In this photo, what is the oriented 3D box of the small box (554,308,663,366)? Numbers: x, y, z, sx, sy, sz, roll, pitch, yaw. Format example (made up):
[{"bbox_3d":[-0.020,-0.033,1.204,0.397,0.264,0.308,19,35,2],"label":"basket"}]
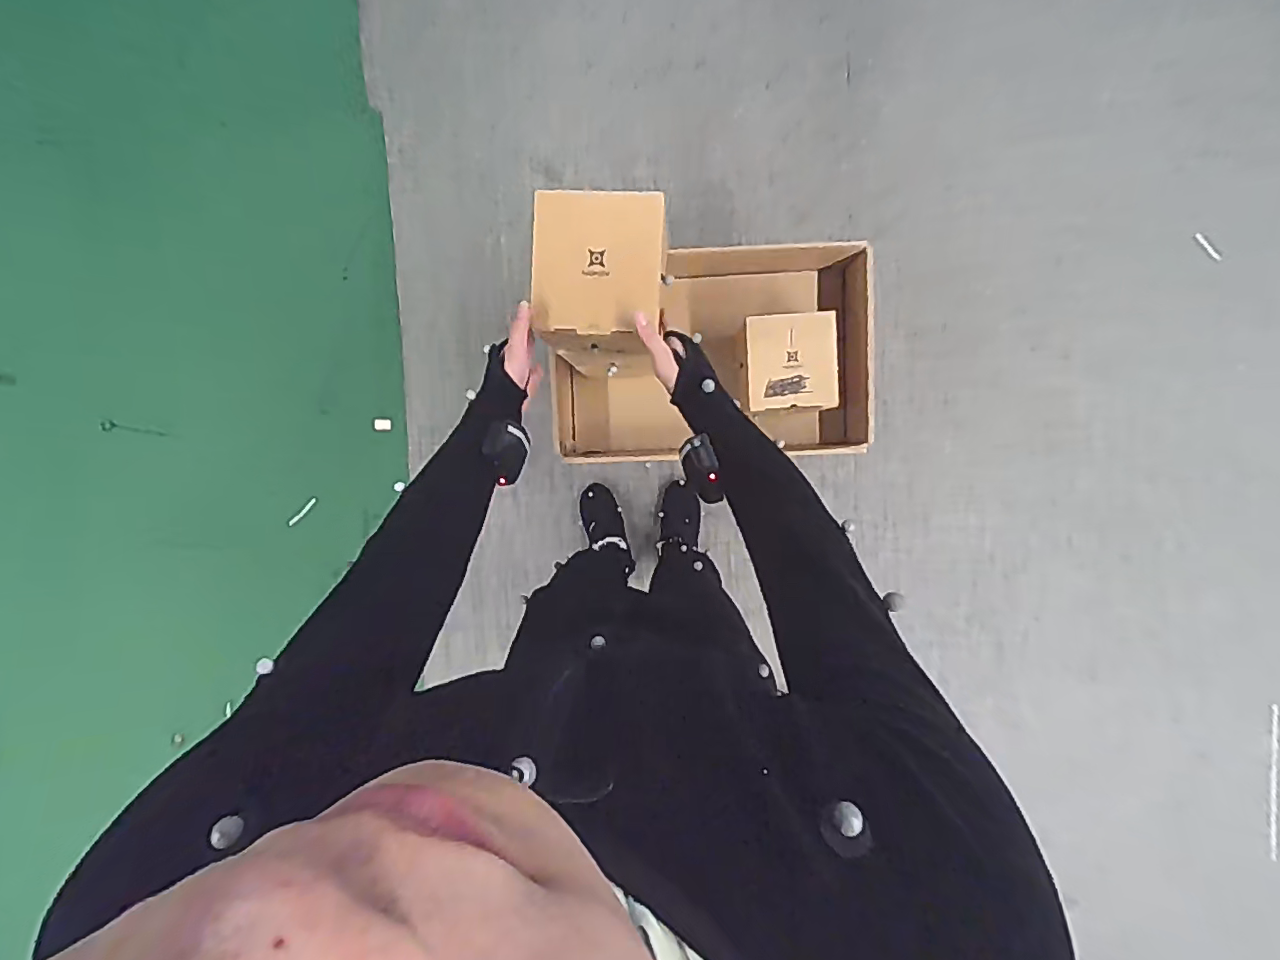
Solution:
[{"bbox_3d":[-0.047,-0.297,0.921,0.168,0.176,0.179,2,95,3],"label":"small box"}]

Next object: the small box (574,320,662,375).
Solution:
[{"bbox_3d":[-0.040,-0.309,1.084,0.168,0.176,0.179,0,94,2],"label":"small box"}]

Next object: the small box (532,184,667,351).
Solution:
[{"bbox_3d":[-0.050,-0.285,0.759,0.168,0.176,0.179,3,95,3],"label":"small box"}]

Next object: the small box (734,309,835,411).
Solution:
[{"bbox_3d":[0.280,-0.229,1.073,0.168,0.176,0.179,-2,93,3],"label":"small box"}]
